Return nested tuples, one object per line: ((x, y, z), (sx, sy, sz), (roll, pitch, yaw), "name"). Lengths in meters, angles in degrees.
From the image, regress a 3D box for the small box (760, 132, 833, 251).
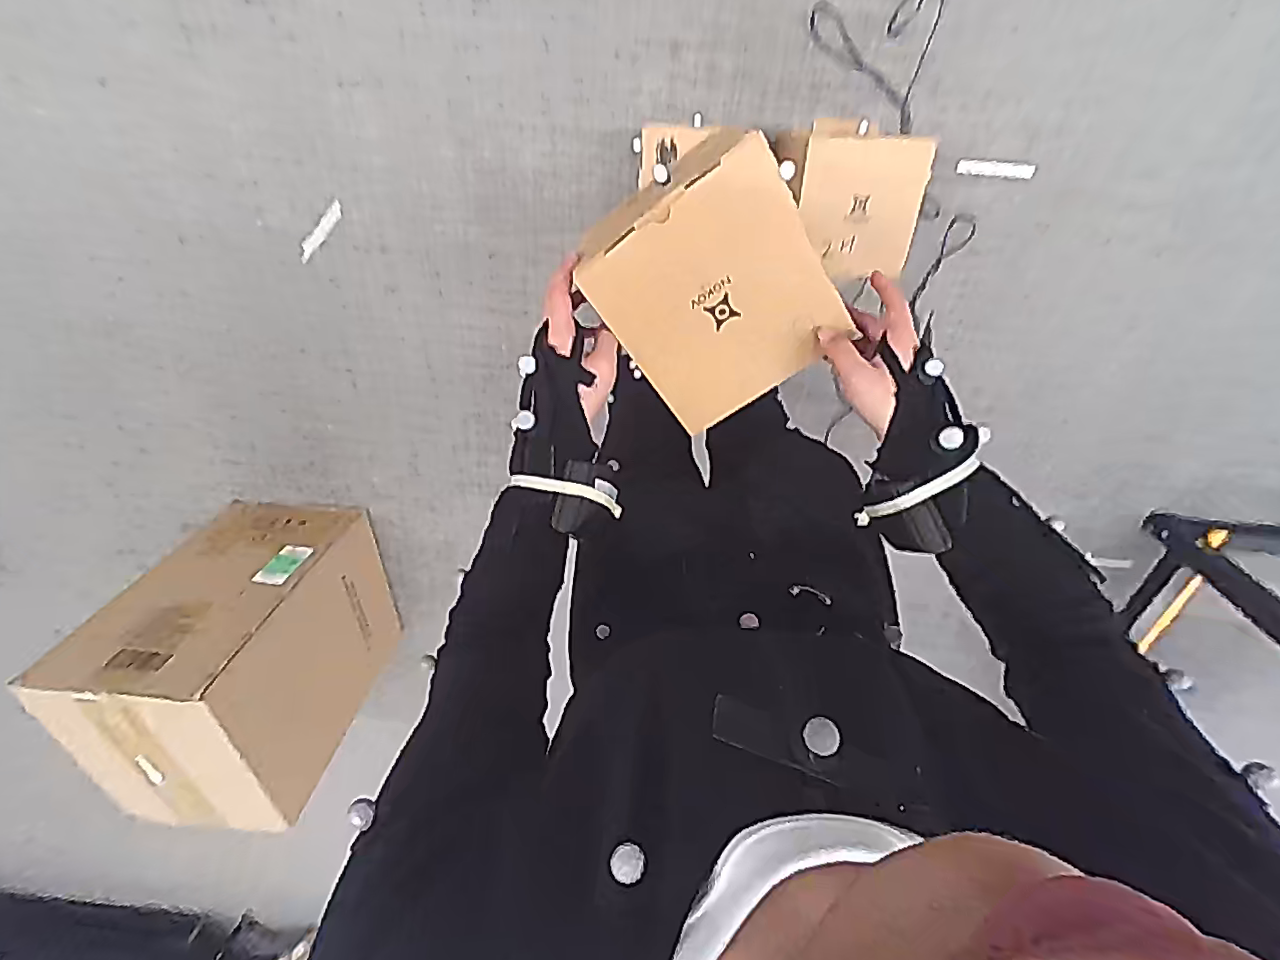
((0.313, -0.507, 0.954), (0.168, 0.176, 0.179), (5, 124, 2), "small box")

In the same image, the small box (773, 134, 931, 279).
((0.302, -0.416, 0.817), (0.168, 0.176, 0.179), (4, 124, 3), "small box")
